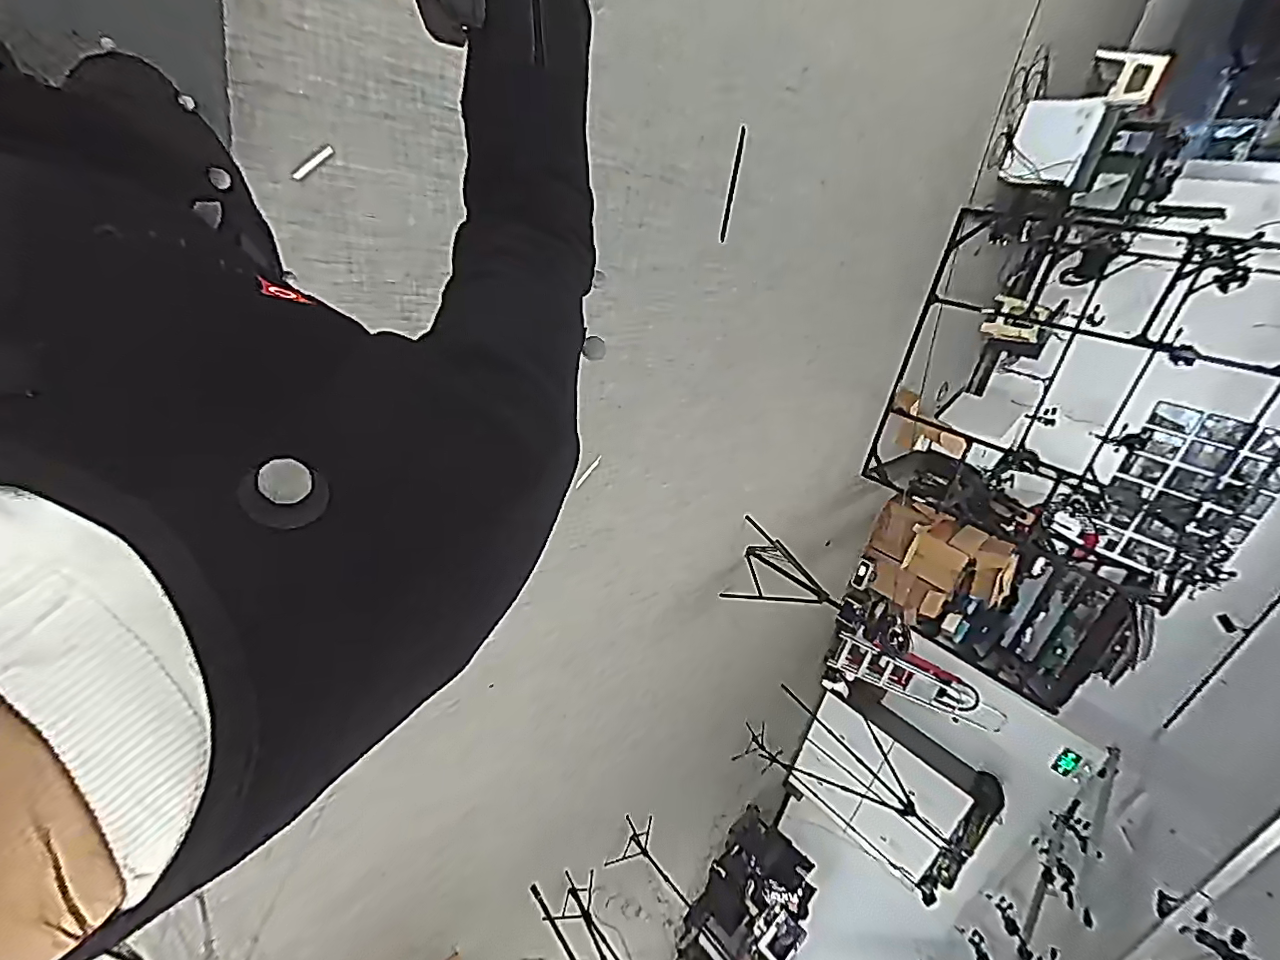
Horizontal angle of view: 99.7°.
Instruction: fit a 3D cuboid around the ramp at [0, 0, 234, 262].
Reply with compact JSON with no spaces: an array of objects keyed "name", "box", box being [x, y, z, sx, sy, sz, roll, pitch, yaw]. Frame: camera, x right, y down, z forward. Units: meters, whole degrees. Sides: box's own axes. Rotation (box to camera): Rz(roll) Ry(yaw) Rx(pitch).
[{"name":"ramp","box":[-0.886,-0.827,0.744,0.509,0.206,0.991,-15,127,-43]}]
